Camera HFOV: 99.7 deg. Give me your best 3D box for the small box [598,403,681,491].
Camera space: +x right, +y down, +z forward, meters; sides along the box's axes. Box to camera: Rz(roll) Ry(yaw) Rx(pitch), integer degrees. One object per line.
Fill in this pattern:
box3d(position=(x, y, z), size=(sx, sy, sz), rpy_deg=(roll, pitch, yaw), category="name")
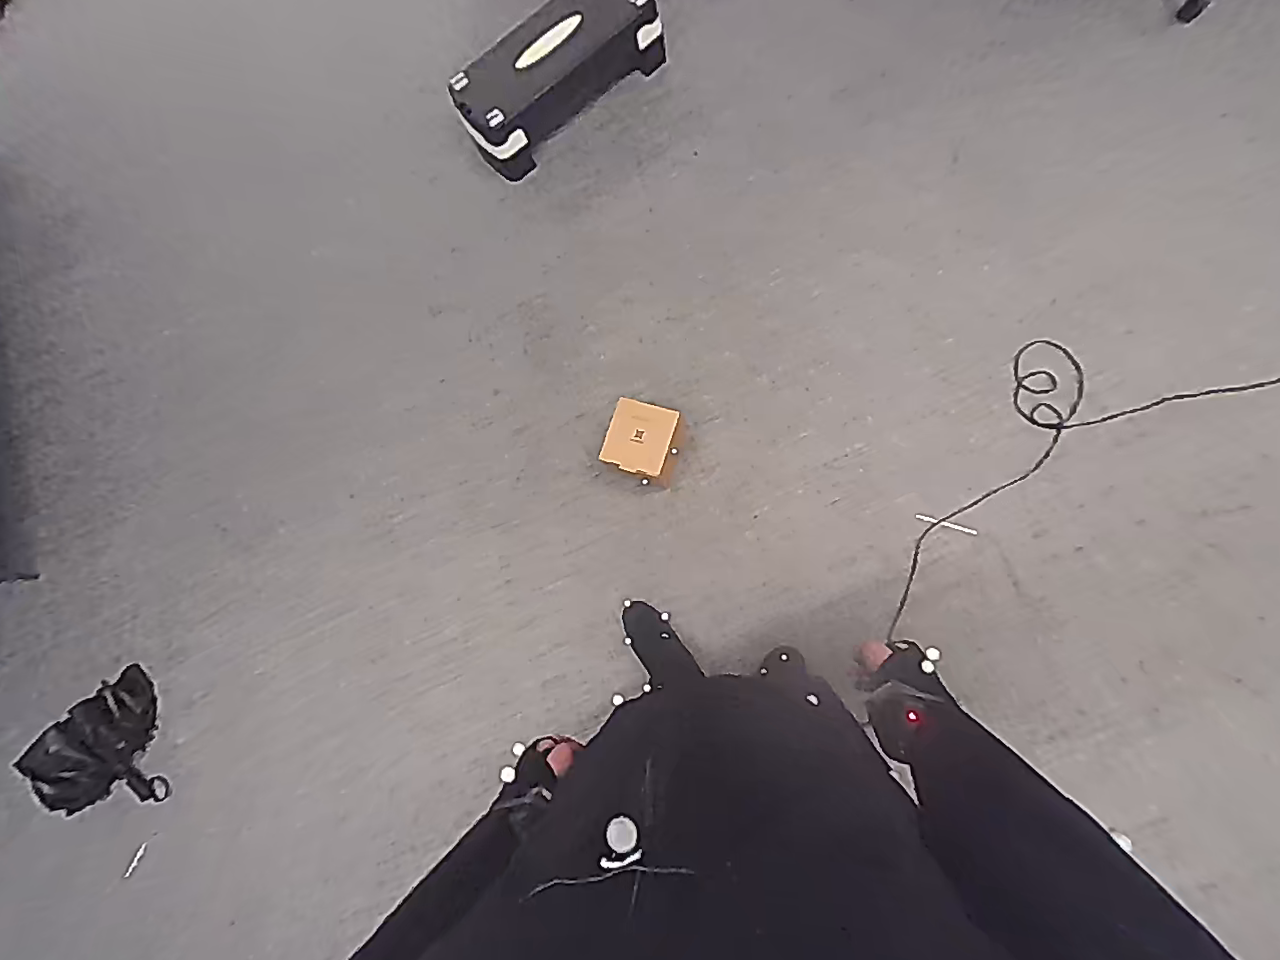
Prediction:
box3d(position=(0.007, -0.081, 1.447), size=(0.168, 0.176, 0.179), rpy_deg=(16, 80, 13), category="small box")
